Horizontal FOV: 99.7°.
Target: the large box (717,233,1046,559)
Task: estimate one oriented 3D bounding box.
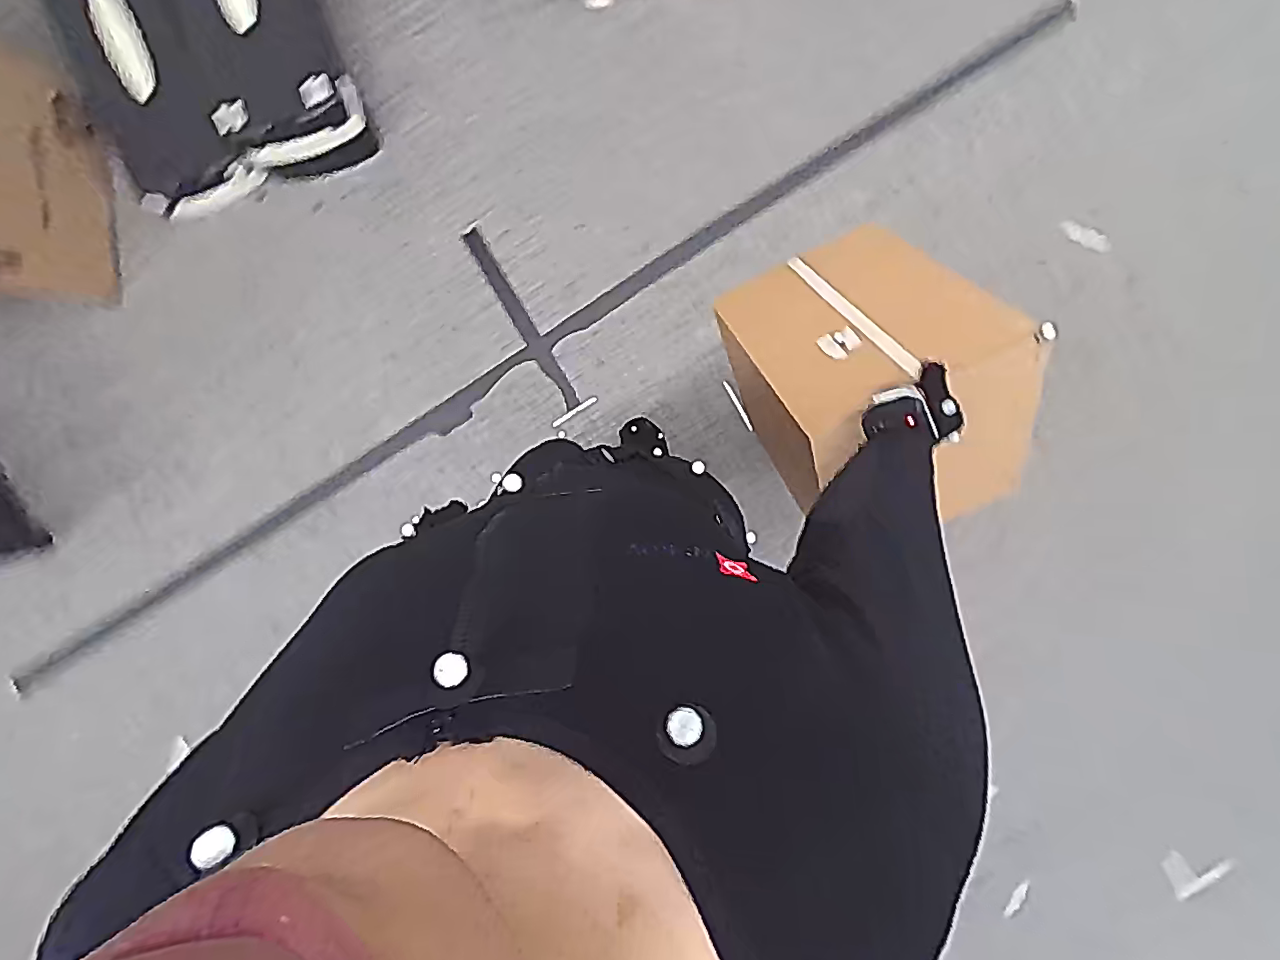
[{"bbox_3d":[0.370,-0.146,0.925,0.320,0.408,0.320,-24,136,6],"label":"large box"}]
